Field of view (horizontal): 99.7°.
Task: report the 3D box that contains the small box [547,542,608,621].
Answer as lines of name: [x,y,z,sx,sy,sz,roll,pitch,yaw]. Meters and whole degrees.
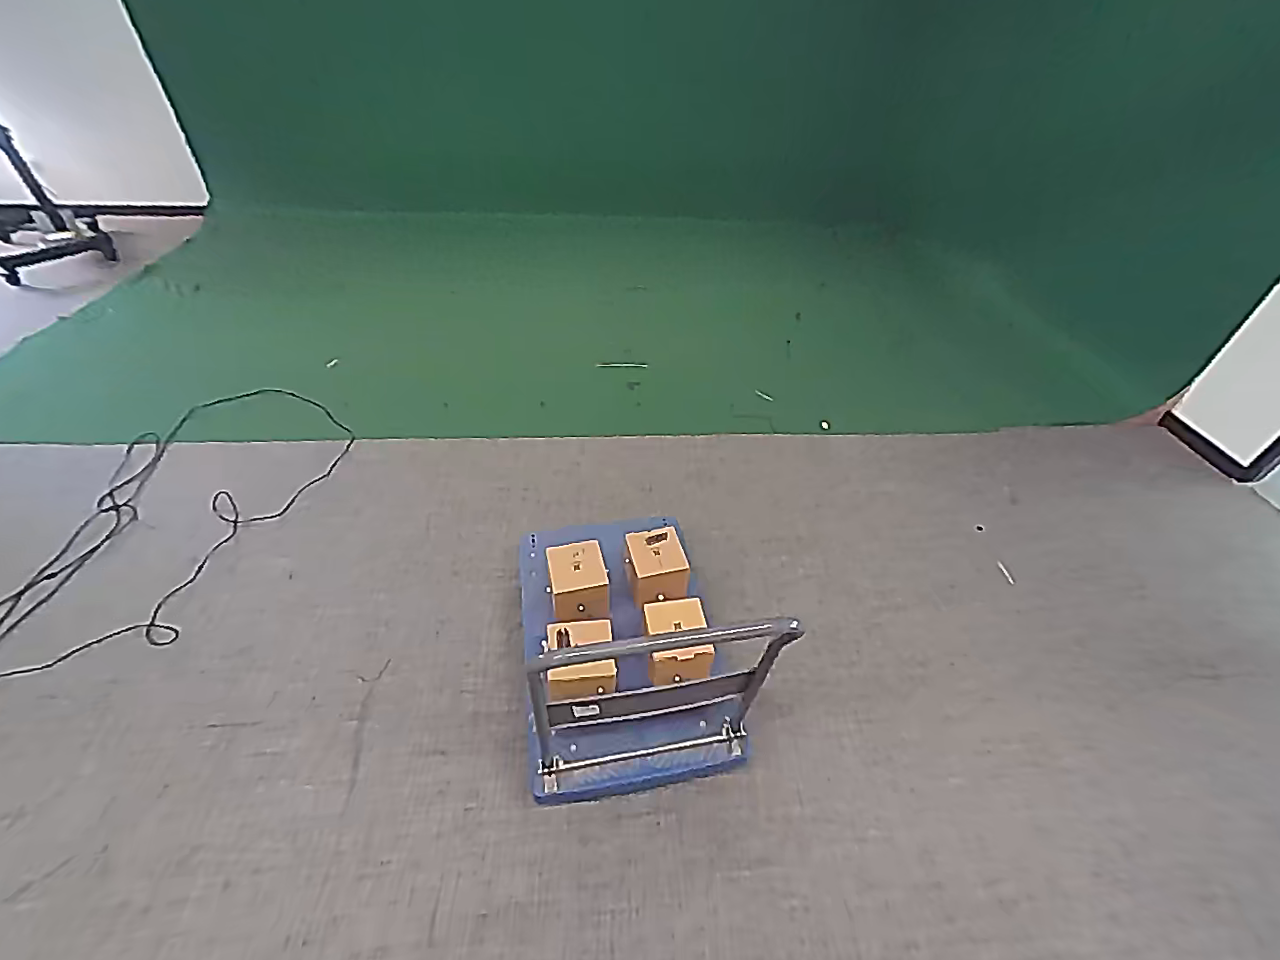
small box: [-0.193,0.323,1.696,0.168,0.176,0.179,-8,44,-13]

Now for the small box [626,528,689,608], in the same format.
small box: [0.050,0.285,1.750,0.168,0.176,0.179,-9,46,-11]

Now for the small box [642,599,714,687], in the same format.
small box: [0.102,0.470,1.560,0.168,0.176,0.179,-5,44,-9]
